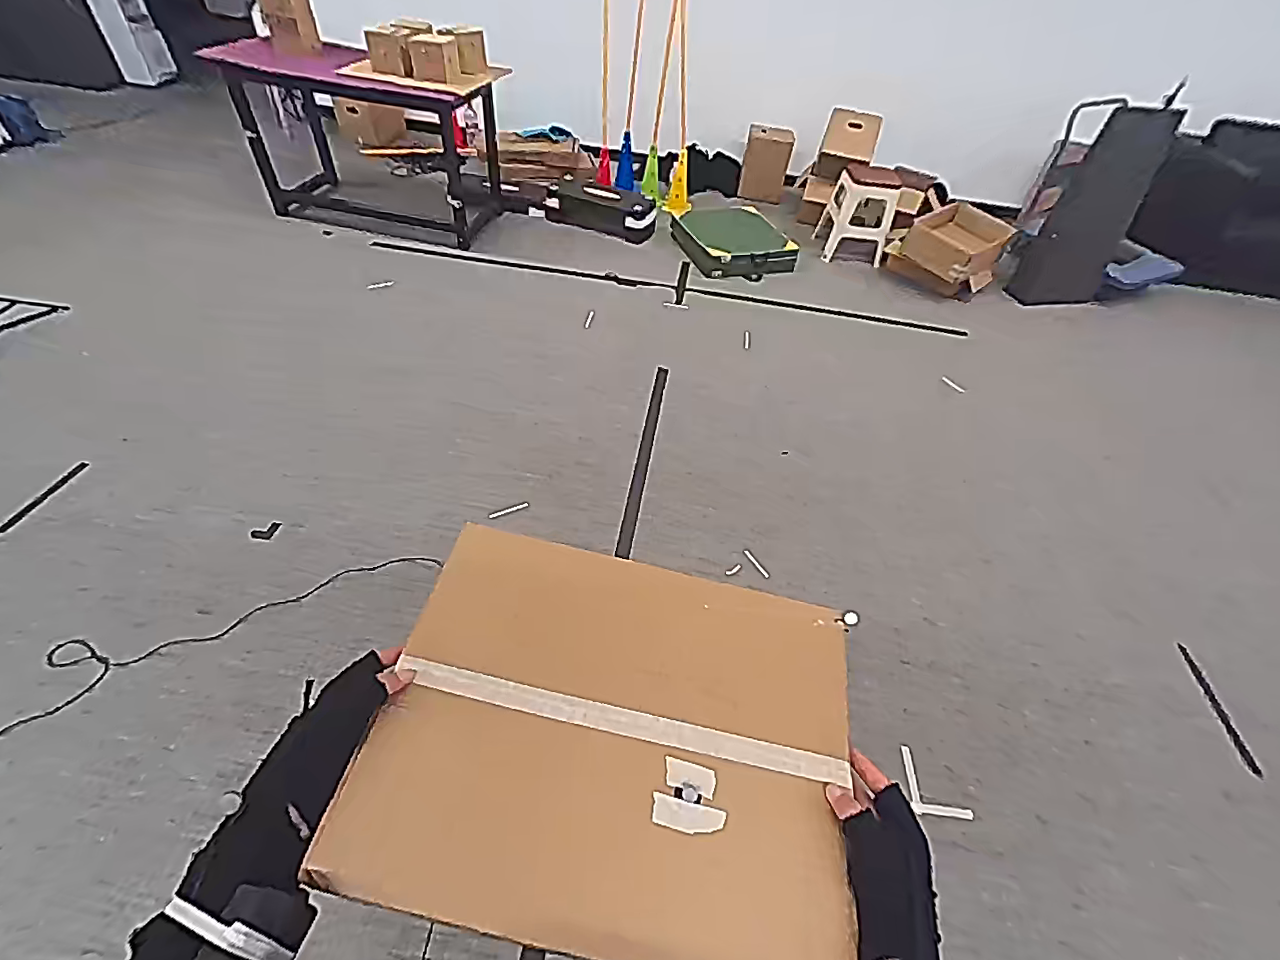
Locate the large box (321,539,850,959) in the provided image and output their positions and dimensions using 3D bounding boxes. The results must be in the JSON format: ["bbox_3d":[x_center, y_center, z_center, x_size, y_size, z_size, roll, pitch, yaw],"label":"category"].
[{"bbox_3d":[-0.035,0.310,0.598,0.408,0.320,0.320,13,53,1],"label":"large box"}]
